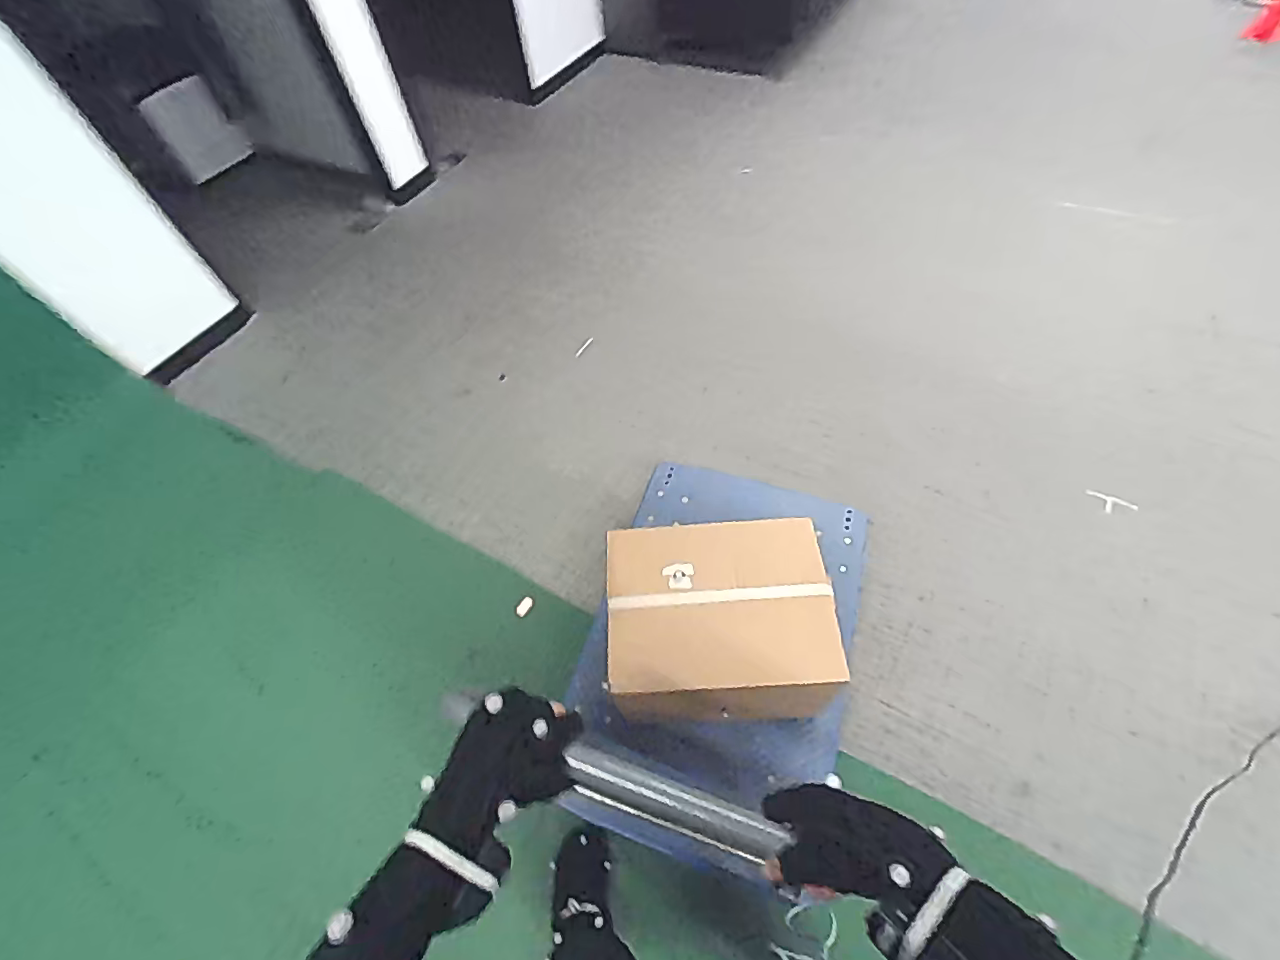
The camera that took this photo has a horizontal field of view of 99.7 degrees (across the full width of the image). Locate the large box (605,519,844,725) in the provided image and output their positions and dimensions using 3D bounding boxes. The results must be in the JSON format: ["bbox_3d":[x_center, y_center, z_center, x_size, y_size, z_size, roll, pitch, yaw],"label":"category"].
[{"bbox_3d":[0.153,0.305,1.114,0.408,0.320,0.320,-6,56,4],"label":"large box"}]
